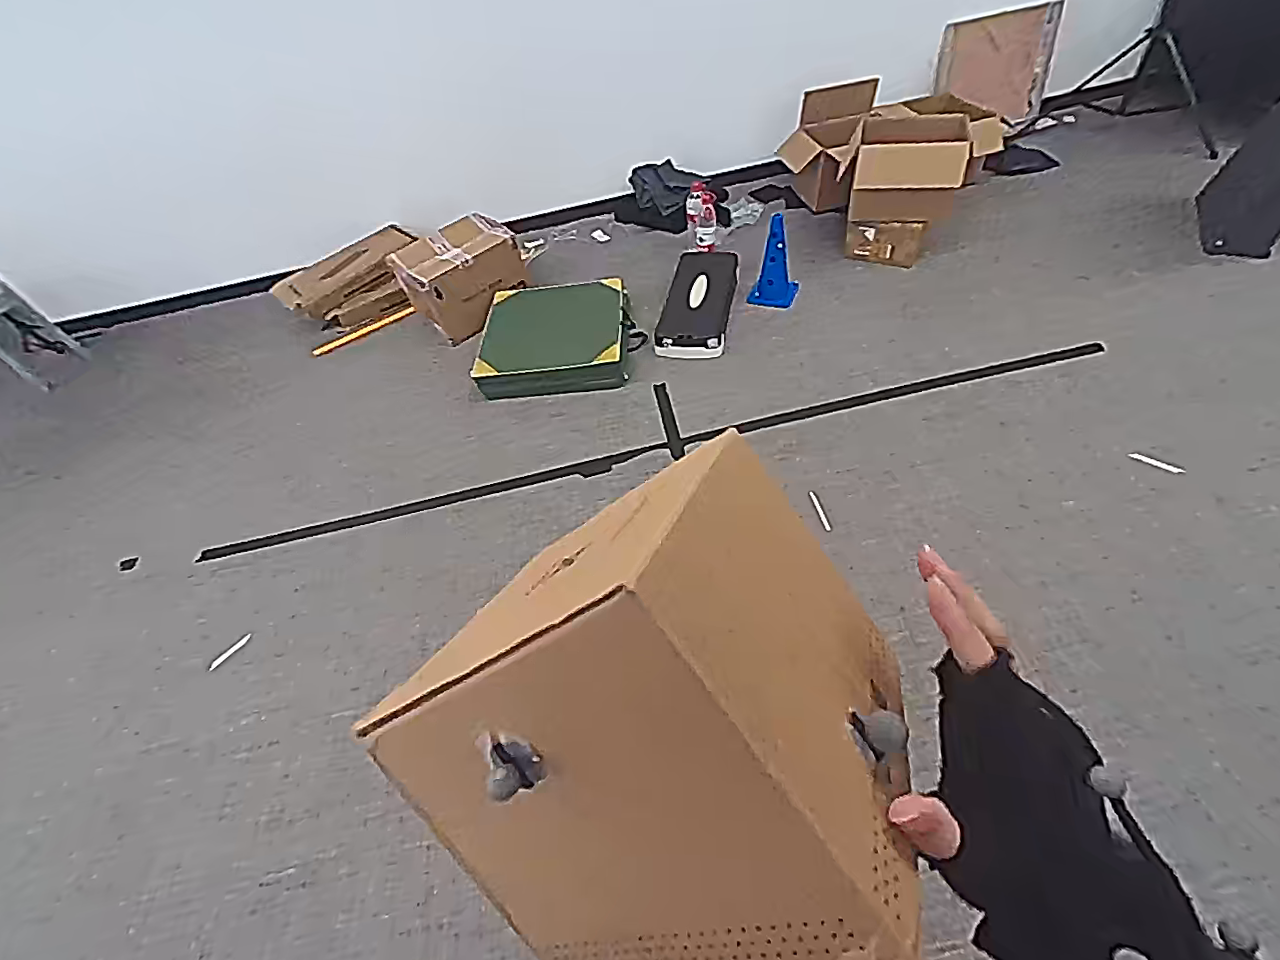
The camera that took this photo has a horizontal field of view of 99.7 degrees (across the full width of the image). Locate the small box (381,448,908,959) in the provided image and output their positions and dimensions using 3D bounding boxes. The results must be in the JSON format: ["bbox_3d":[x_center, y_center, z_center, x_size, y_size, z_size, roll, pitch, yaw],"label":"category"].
[{"bbox_3d":[0.012,0.116,0.291,0.179,0.176,0.168,-34,7,30],"label":"small box"}]
